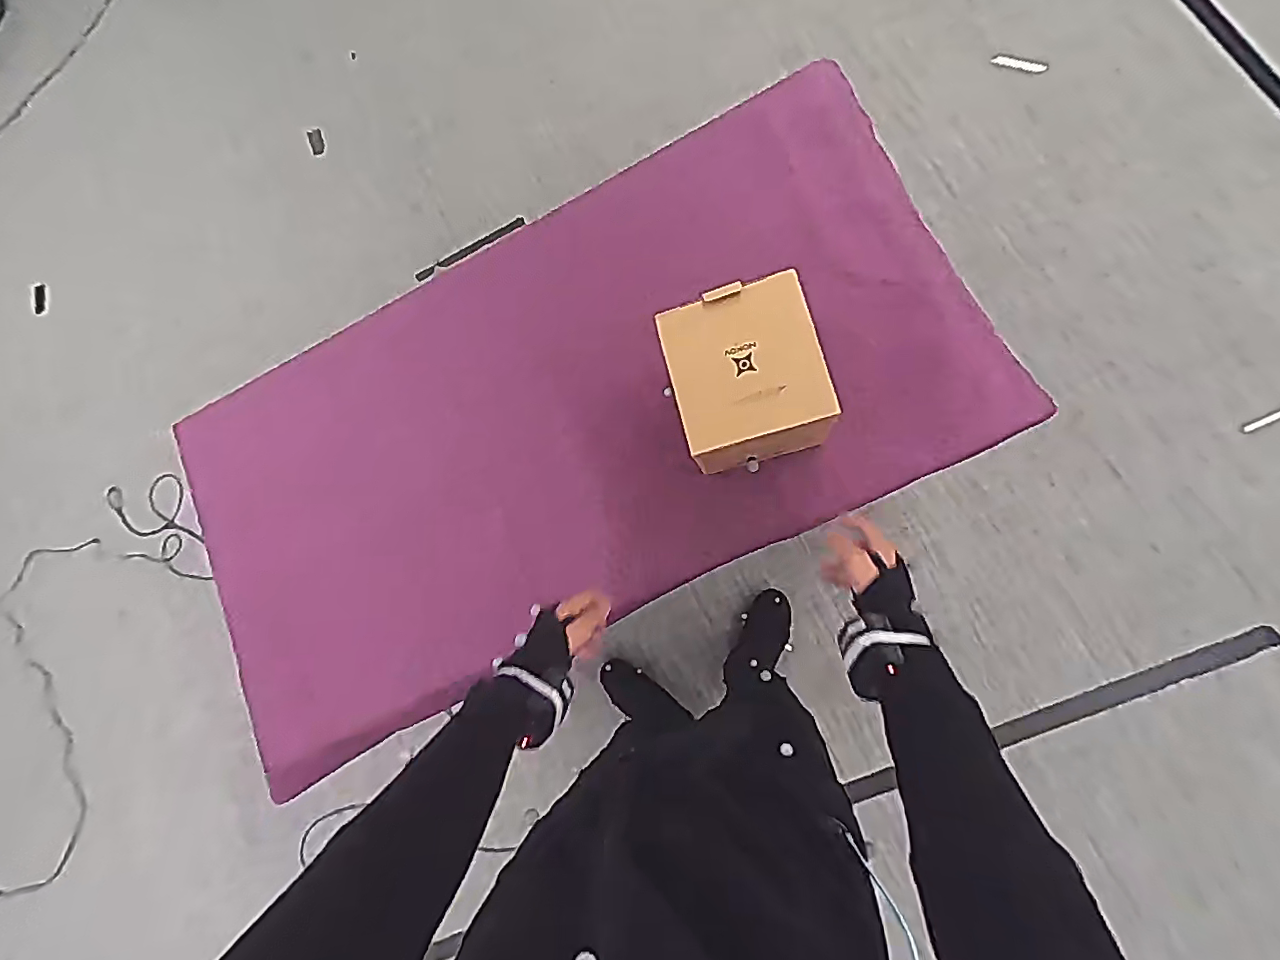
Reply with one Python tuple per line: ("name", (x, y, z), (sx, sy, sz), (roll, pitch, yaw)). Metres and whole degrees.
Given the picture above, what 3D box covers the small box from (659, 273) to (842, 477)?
("small box", (0.131, -0.115, 0.666), (0.168, 0.176, 0.179), (-15, 79, 10))
